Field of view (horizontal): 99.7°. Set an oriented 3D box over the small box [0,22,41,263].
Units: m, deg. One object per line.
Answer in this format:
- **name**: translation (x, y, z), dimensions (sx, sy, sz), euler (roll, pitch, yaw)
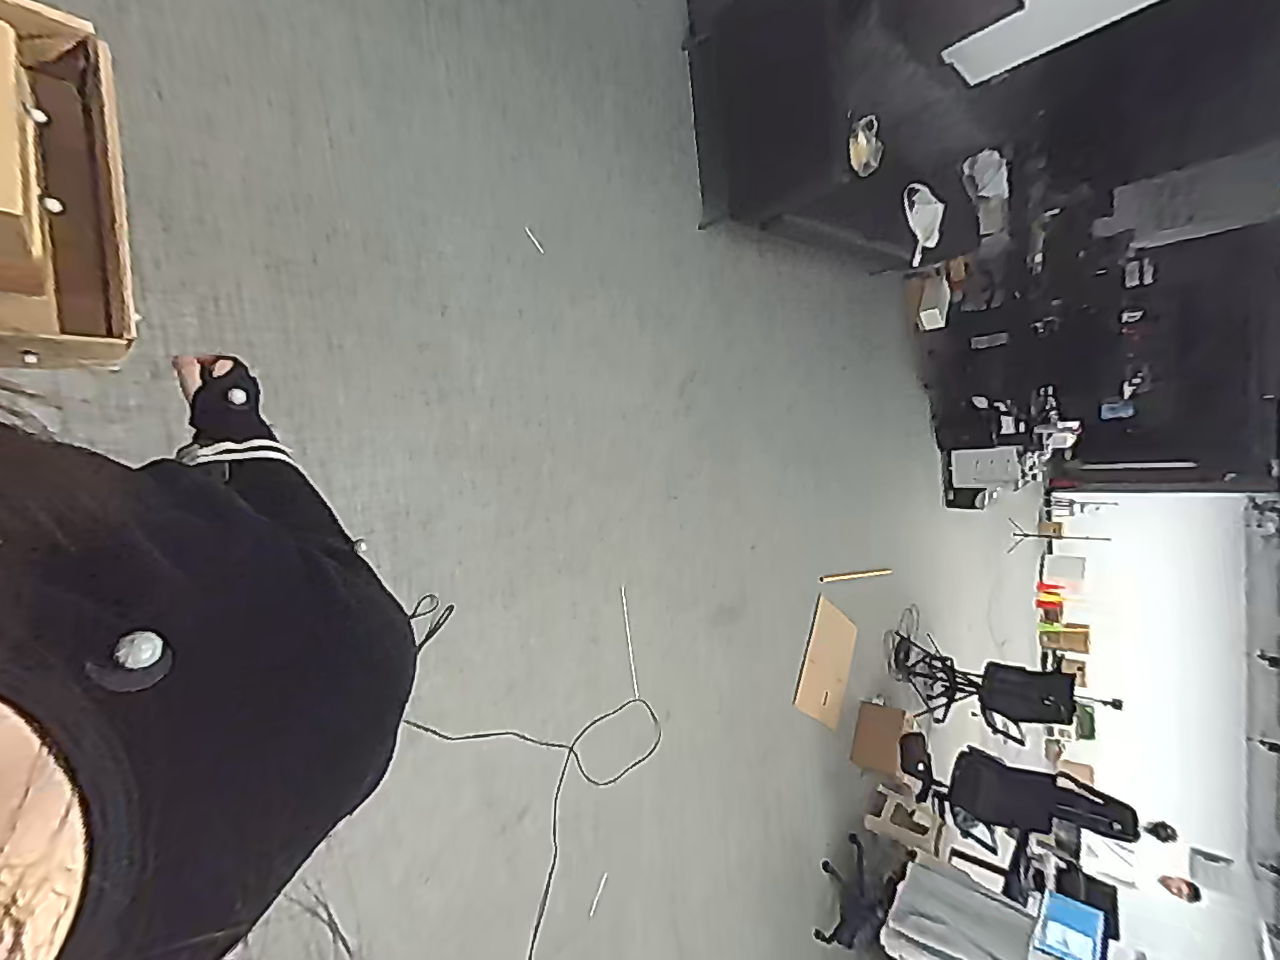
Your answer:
- **small box**: translation (-0.684, -0.327, 0.498), dimensions (0.168, 0.176, 0.179), euler (-3, 92, -44)
